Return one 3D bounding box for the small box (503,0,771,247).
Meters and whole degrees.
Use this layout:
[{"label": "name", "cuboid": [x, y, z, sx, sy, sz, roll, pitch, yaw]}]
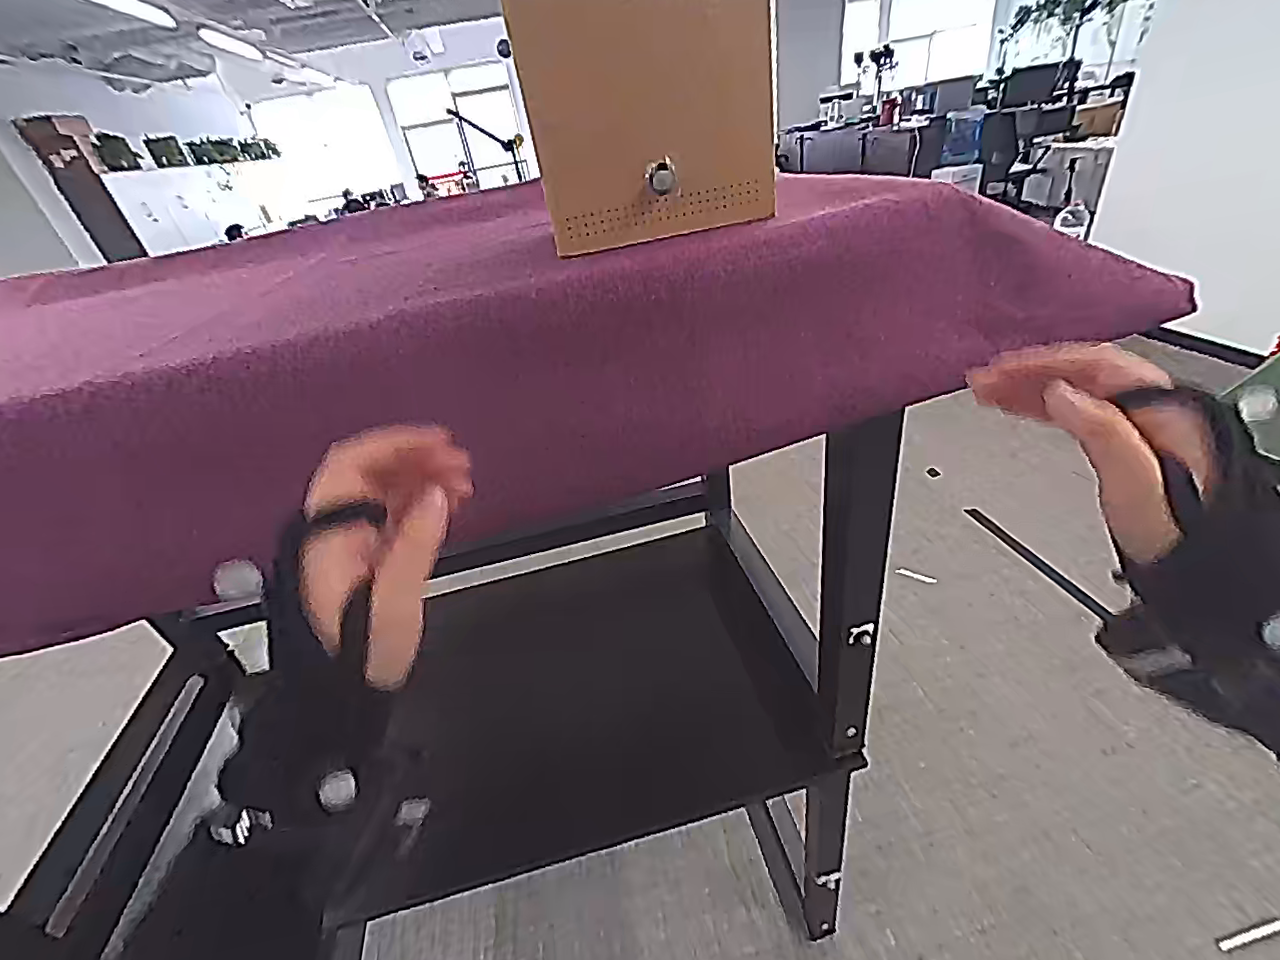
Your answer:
[{"label": "small box", "cuboid": [0.001, -0.304, 0.441, 0.179, 0.176, 0.168, -12, 32, -1]}]
